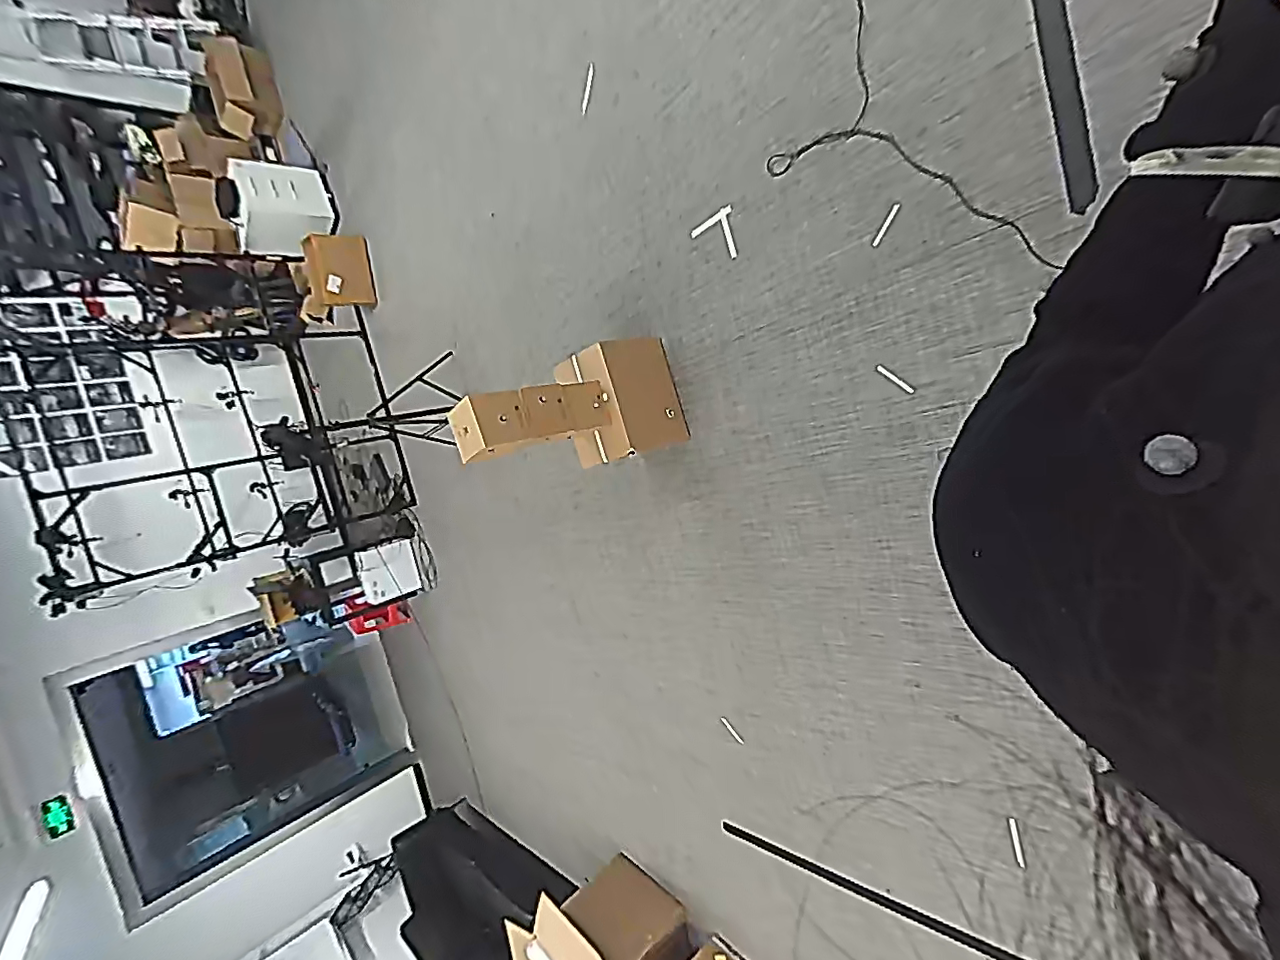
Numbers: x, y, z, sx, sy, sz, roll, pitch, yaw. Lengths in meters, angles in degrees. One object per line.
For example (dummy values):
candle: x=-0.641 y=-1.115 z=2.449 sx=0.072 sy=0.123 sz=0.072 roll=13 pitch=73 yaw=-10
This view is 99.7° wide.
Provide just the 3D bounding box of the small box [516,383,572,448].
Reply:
small box: x=-0.342 y=-0.215 z=1.789 sx=0.179 sy=0.176 sz=0.168 roll=-17 pitch=89 yaw=50

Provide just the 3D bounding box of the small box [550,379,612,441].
small box: x=-0.228 y=-0.247 z=1.900 sx=0.179 sy=0.176 sz=0.168 roll=-15 pitch=92 yaw=48

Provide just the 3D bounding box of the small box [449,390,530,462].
small box: x=-0.461 y=-0.172 z=1.683 sx=0.179 sy=0.176 sz=0.168 roll=-24 pitch=85 yaw=48
